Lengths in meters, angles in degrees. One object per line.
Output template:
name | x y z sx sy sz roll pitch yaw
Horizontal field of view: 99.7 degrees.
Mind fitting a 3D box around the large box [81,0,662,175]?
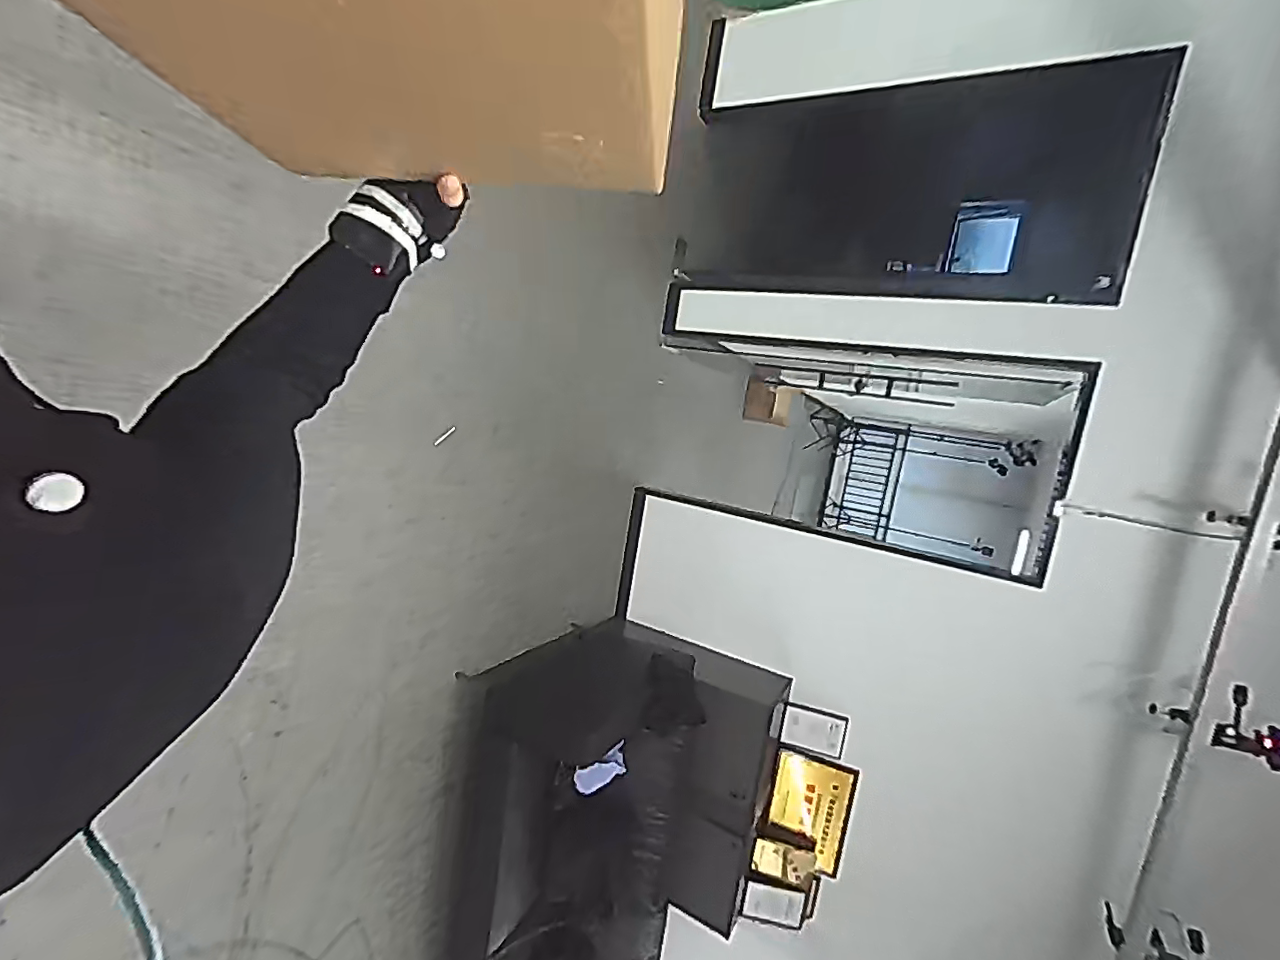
large box | -0.147 -0.395 0.242 0.408 0.320 0.320 -56 151 -86
